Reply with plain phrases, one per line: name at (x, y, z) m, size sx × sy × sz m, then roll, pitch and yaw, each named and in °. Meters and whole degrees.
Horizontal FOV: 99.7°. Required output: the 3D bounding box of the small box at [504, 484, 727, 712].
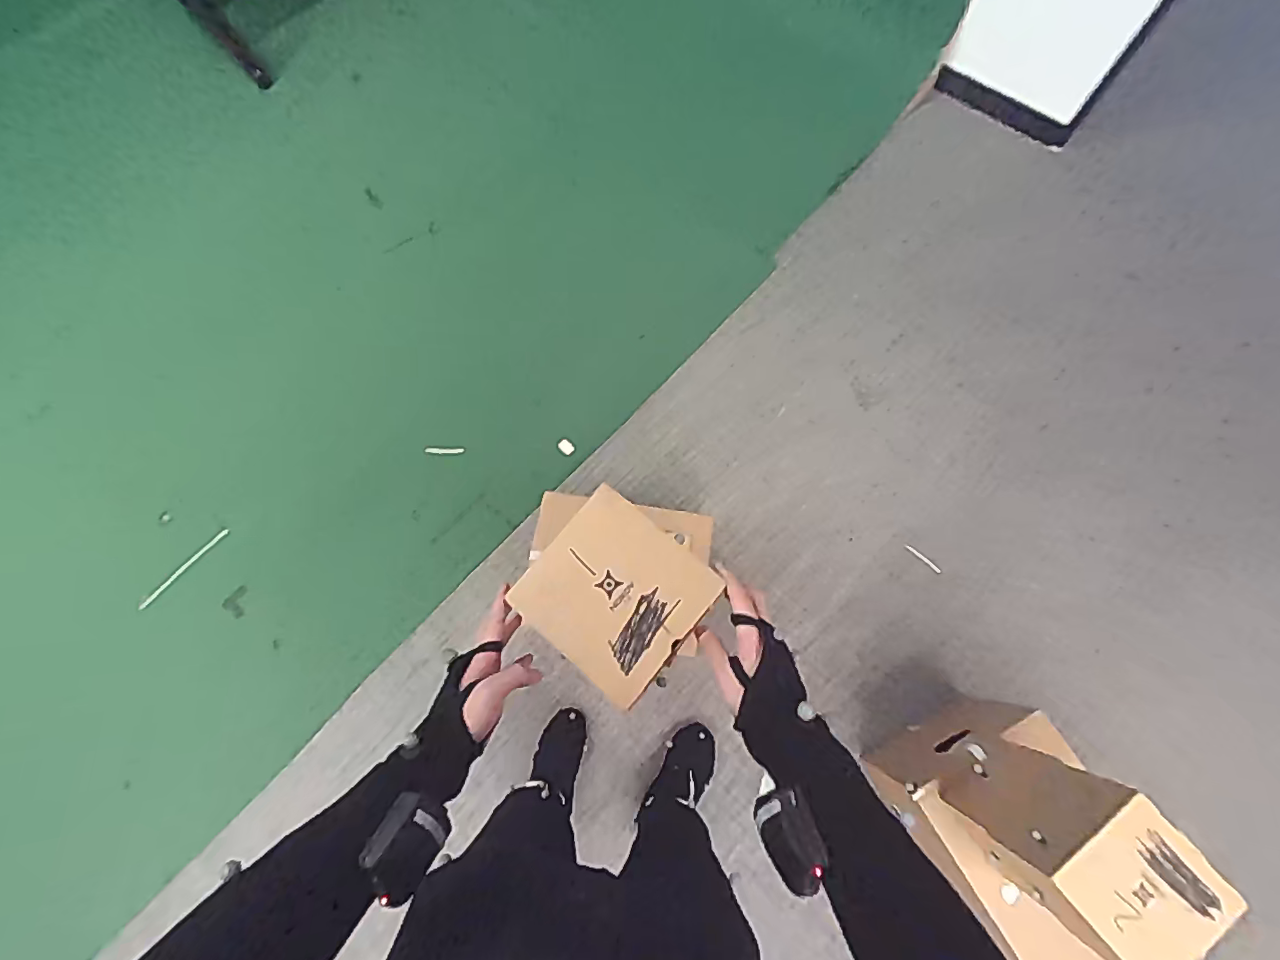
small box at (-0.019, 0.135, 0.632) m, size 0.179 × 0.176 × 0.168 m, roll 40°, pitch 81°, yaw 15°

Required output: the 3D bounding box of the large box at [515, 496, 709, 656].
large box at (-0.045, 0.249, 1.346) m, size 0.408 × 0.320 × 0.320 m, roll 8°, pitch 72°, yaw 7°

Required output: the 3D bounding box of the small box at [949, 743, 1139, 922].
small box at (0.672, 0.589, 0.932) m, size 0.179 × 0.176 × 0.168 m, roll -37°, pitch 75°, yaw -6°
